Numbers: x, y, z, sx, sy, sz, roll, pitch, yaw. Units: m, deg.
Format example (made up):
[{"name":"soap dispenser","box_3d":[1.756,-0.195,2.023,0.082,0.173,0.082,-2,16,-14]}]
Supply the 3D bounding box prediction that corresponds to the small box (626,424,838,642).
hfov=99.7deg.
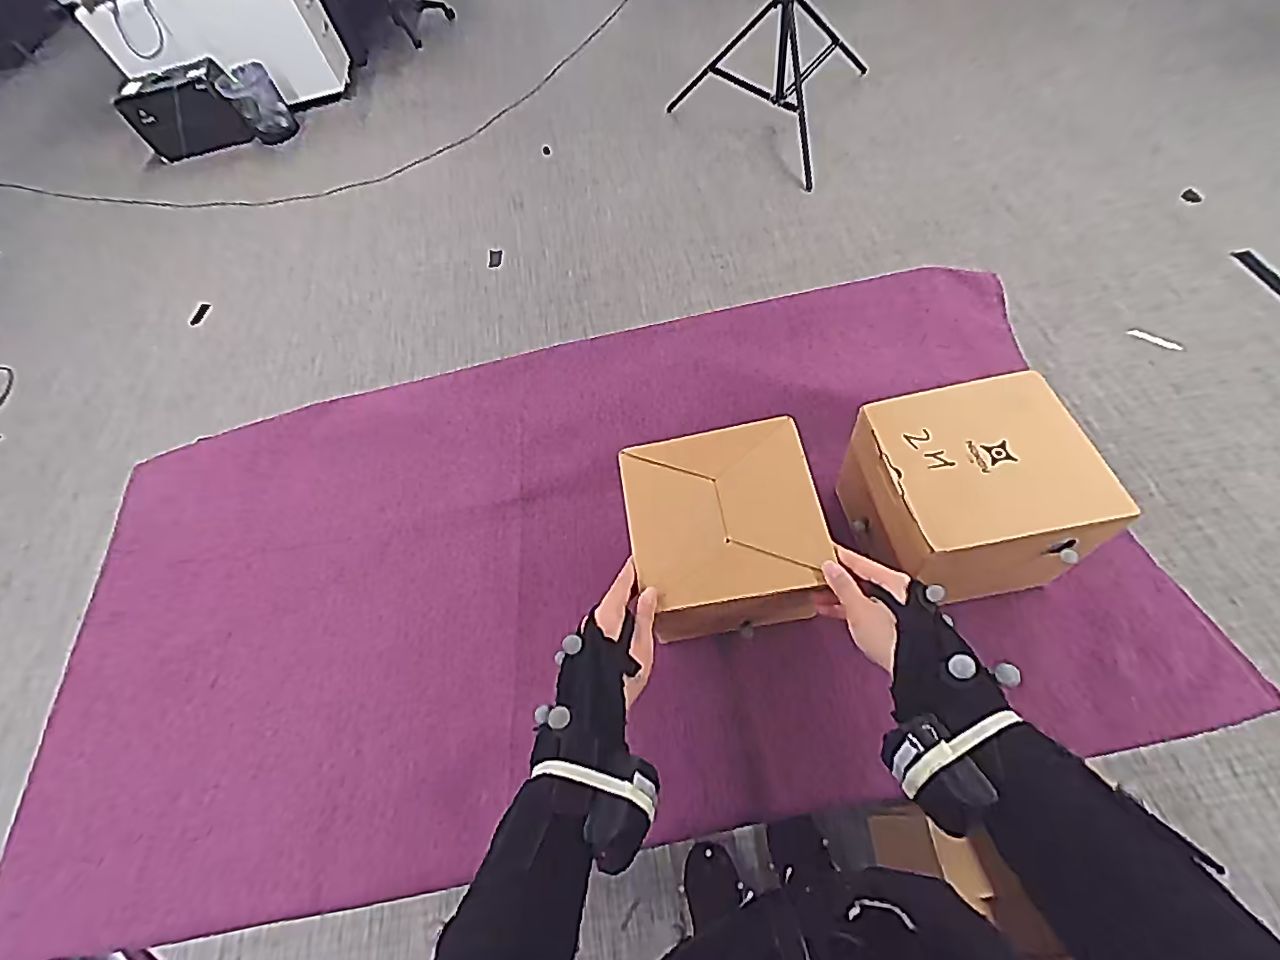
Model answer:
[{"name":"small box","box_3d":[0.088,0.060,0.571,0.179,0.176,0.168,-11,63,5]}]

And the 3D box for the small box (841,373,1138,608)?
[{"name":"small box","box_3d":[0.331,0.018,0.561,0.179,0.176,0.168,-11,57,3]}]
